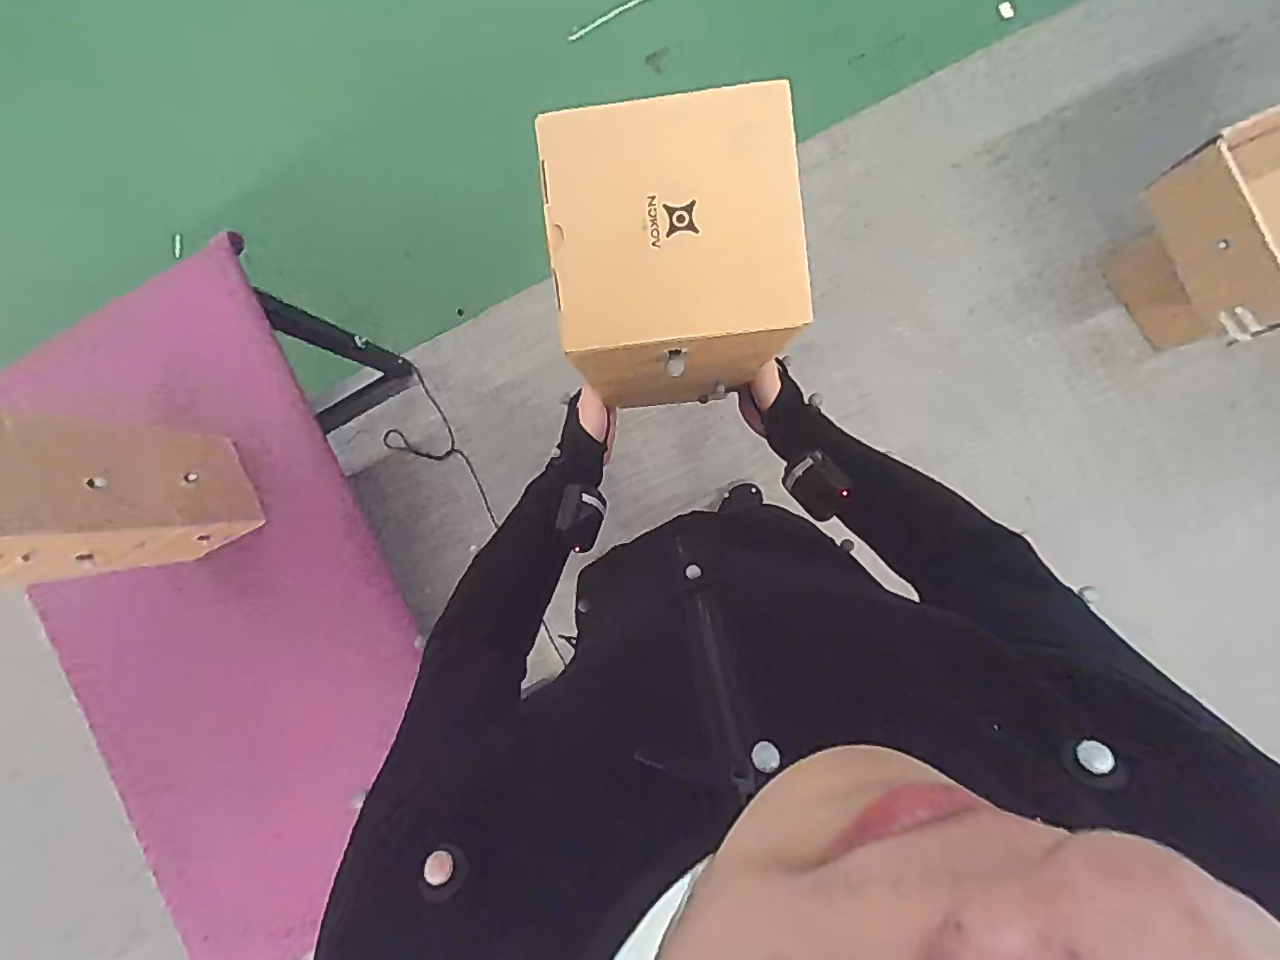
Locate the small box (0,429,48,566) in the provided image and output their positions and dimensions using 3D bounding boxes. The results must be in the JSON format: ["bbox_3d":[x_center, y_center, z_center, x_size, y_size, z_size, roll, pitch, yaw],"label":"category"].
[{"bbox_3d":[-0.814,0.026,0.571,0.168,0.176,0.179,-28,88,3],"label":"small box"}]

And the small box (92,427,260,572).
[{"bbox_3d":[-0.785,0.029,0.898,0.168,0.176,0.179,-25,88,3],"label":"small box"}]

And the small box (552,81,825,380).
[{"bbox_3d":[0.036,-0.181,0.446,0.179,0.176,0.168,-6,93,3],"label":"small box"}]

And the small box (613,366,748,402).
[{"bbox_3d":[0.050,-0.206,0.772,0.179,0.176,0.168,-5,92,4],"label":"small box"}]

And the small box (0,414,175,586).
[{"bbox_3d":[-0.800,0.028,0.736,0.168,0.176,0.179,-27,89,3],"label":"small box"}]
